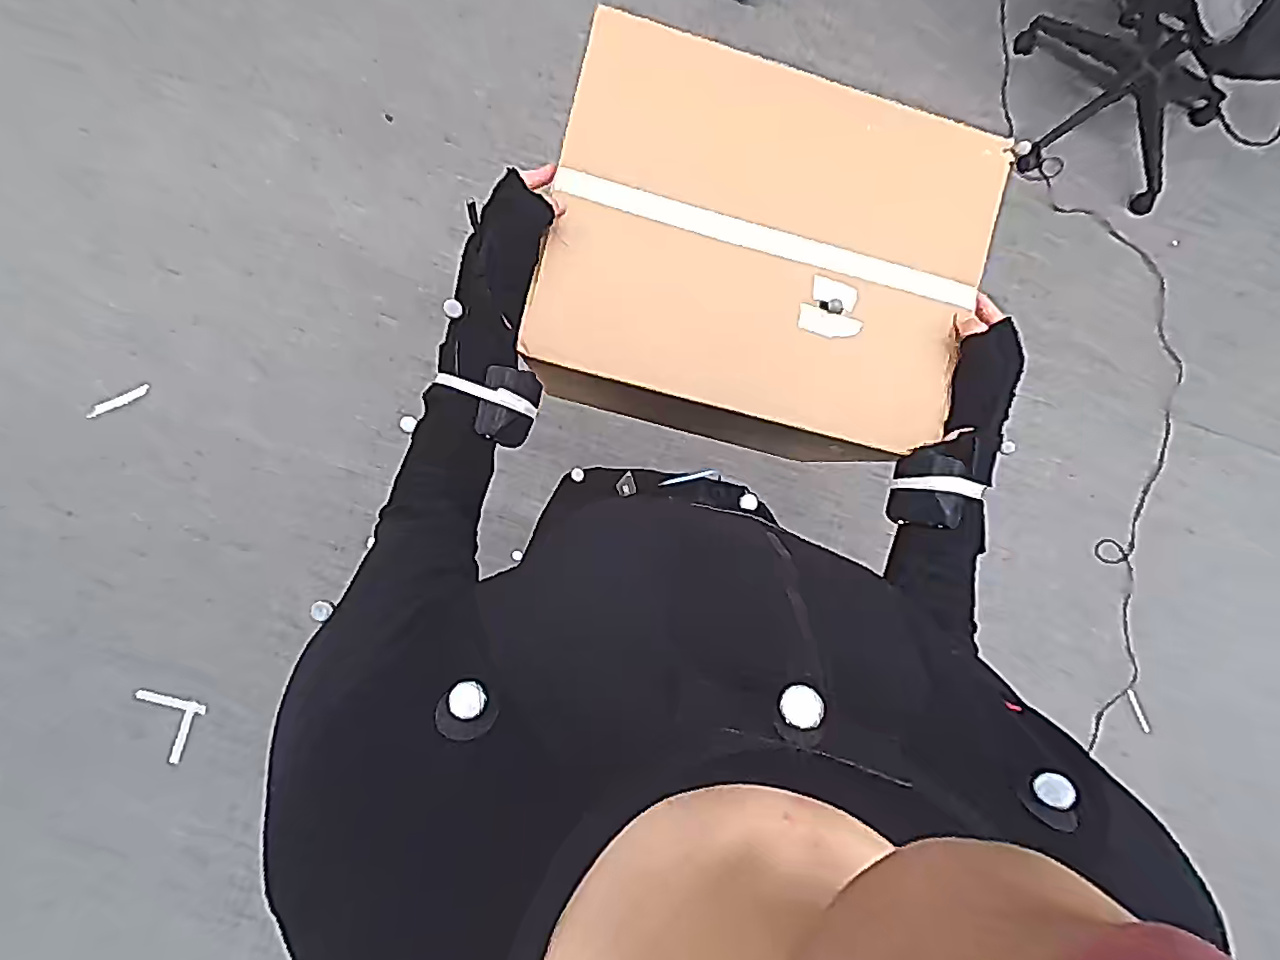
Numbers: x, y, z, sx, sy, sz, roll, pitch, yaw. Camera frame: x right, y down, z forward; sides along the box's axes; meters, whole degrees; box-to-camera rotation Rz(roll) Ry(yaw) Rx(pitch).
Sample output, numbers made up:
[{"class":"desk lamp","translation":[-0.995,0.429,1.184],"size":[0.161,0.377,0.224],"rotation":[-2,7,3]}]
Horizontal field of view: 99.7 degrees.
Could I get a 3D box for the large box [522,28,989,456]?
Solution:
[{"class":"large box","translation":[0.099,-0.221,0.654],"size":[0.408,0.320,0.320],"rotation":[14,92,-7]}]
